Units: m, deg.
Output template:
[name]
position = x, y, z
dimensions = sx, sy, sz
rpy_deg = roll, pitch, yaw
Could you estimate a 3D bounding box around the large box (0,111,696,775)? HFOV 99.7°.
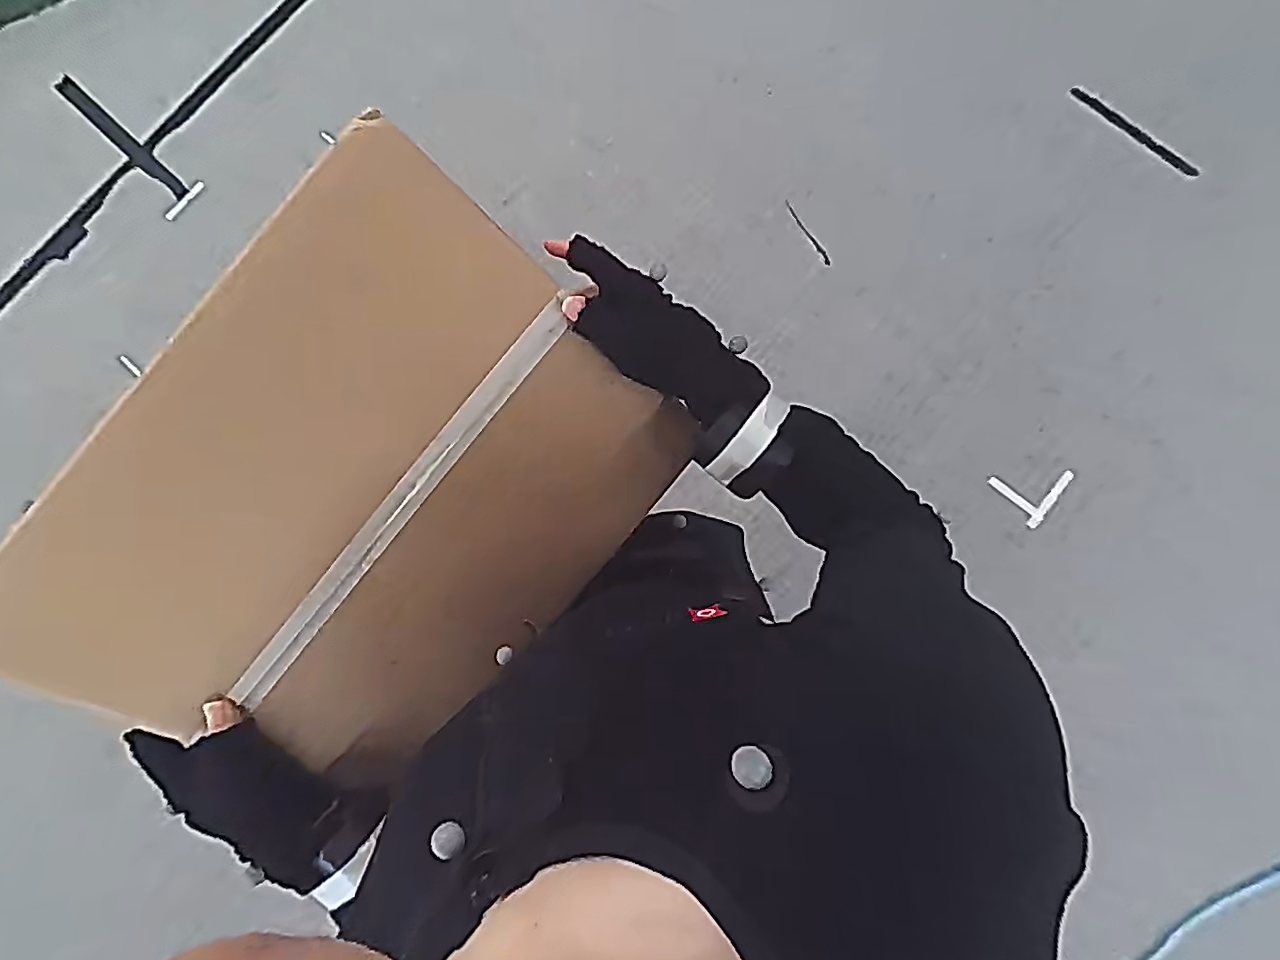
[large box]
position = -0.230, -0.026, 0.523
dimensions = 0.320, 0.320, 0.408
rpy_deg = 39, 91, -28
